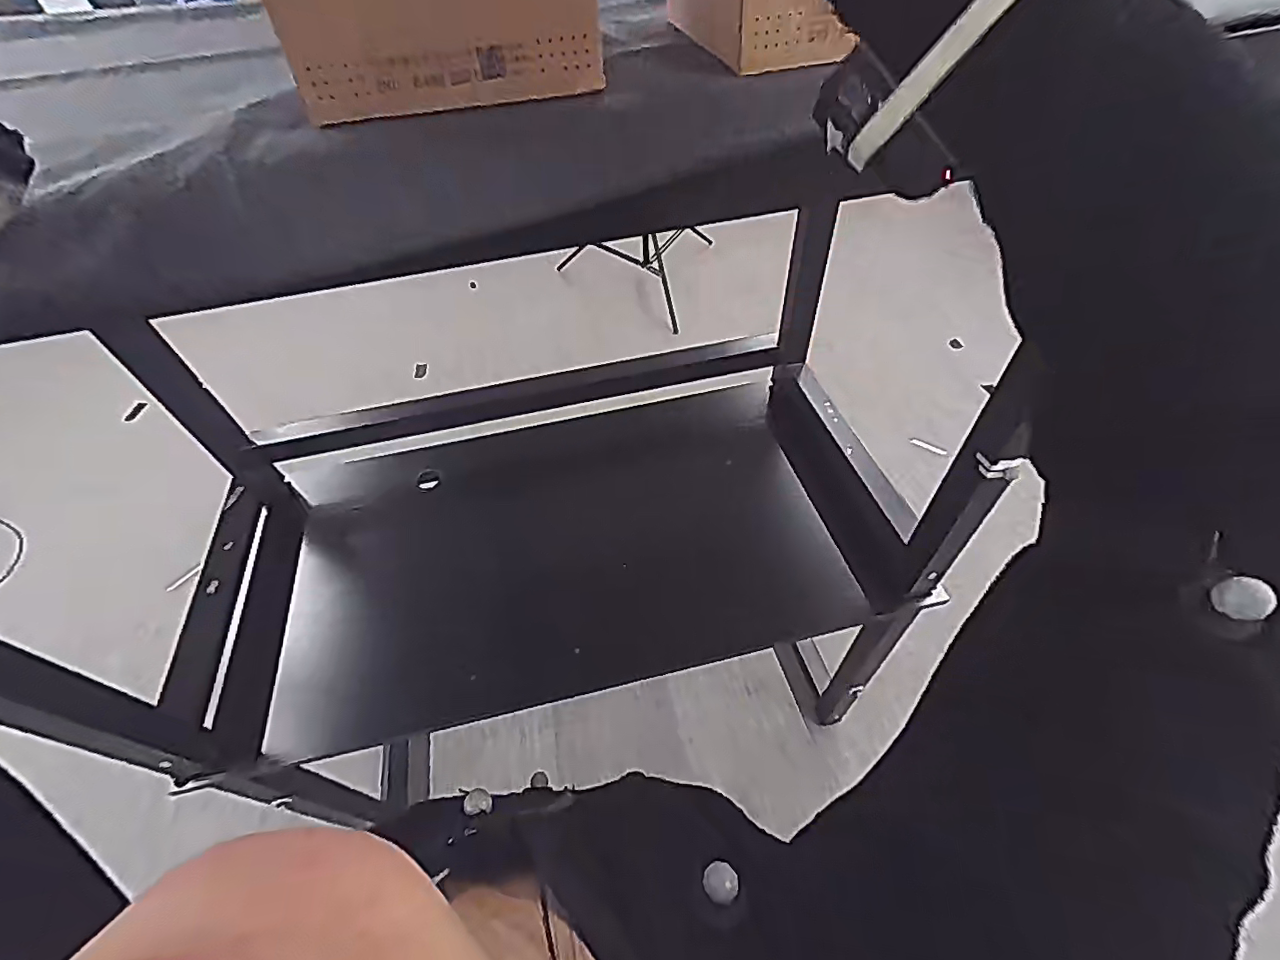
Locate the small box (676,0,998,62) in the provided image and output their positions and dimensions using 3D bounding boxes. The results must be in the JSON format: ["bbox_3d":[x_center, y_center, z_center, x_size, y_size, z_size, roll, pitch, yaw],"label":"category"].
[{"bbox_3d":[0.115,-0.372,0.318,0.168,0.176,0.179,-12,50,-4],"label":"small box"}]

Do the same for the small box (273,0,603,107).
[{"bbox_3d":[-0.117,-0.326,0.299,0.168,0.176,0.179,-9,50,-4],"label":"small box"}]
